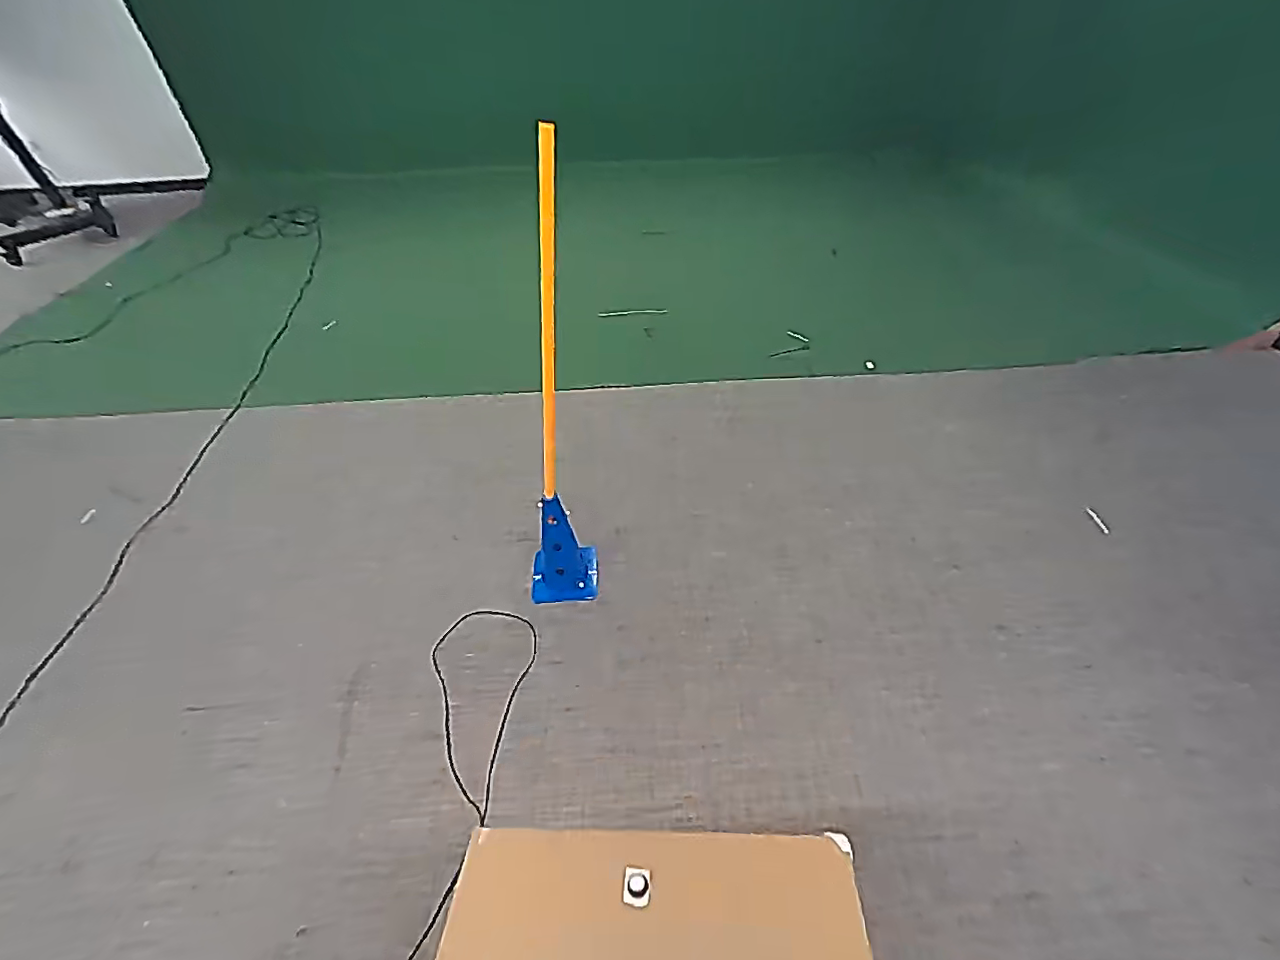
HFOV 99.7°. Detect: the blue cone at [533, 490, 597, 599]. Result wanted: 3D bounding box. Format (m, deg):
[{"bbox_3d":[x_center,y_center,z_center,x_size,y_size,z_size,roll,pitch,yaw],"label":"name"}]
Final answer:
[{"bbox_3d":[-0.231,0.162,1.544,0.193,0.380,0.192,-4,45,-4],"label":"blue cone"}]
